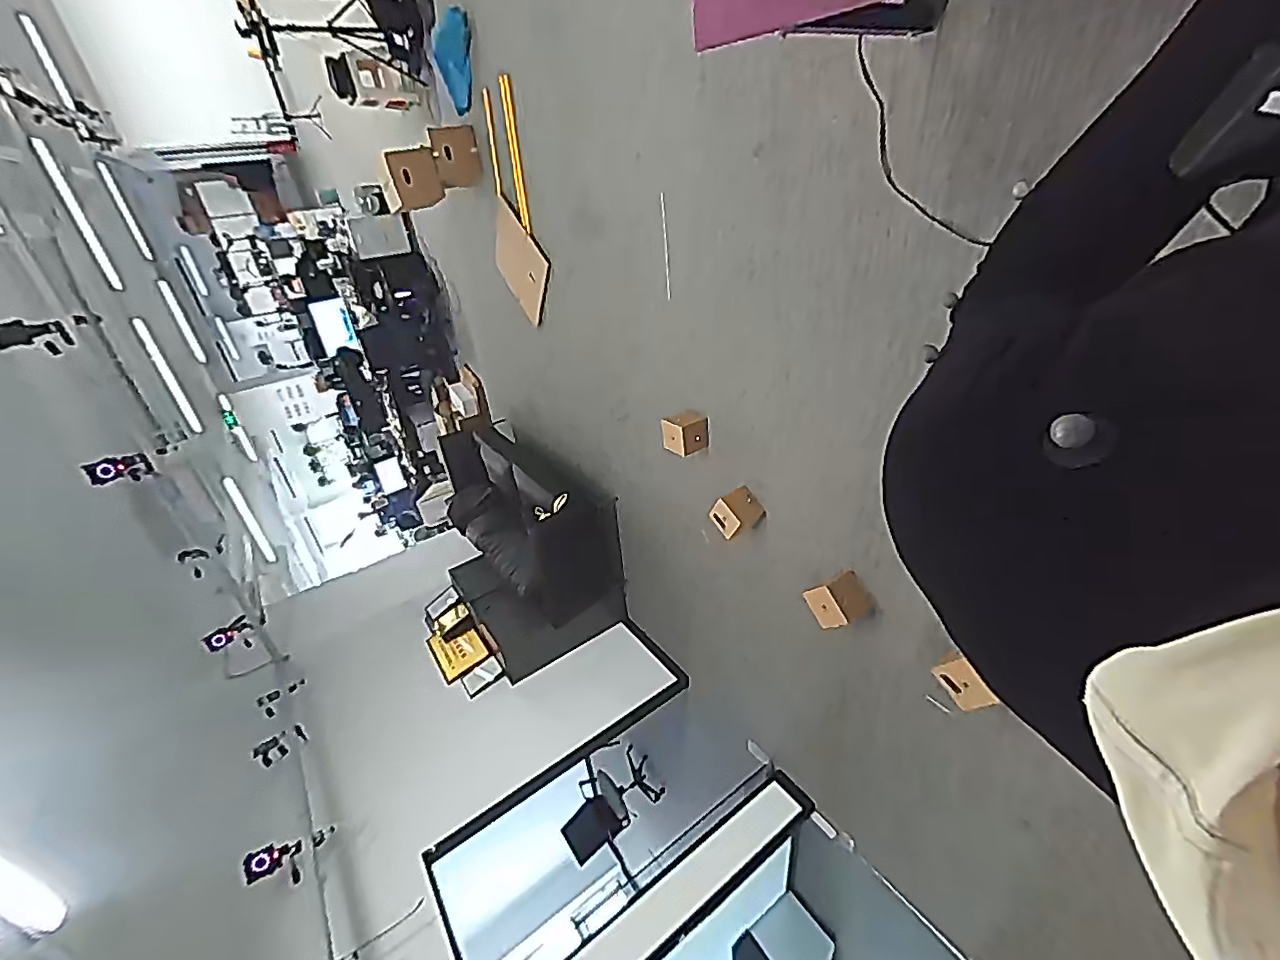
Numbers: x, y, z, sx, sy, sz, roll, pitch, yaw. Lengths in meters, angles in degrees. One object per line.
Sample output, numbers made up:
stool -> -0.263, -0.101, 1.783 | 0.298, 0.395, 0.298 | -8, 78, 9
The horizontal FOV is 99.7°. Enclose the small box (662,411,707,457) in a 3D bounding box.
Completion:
small box -> 0.237, -0.244, 2.796 | 0.179, 0.176, 0.168 | 30, 135, 49

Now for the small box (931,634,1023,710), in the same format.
small box -> 1.160, 0.659, 1.859 | 0.168, 0.176, 0.179 | 55, 150, 20
